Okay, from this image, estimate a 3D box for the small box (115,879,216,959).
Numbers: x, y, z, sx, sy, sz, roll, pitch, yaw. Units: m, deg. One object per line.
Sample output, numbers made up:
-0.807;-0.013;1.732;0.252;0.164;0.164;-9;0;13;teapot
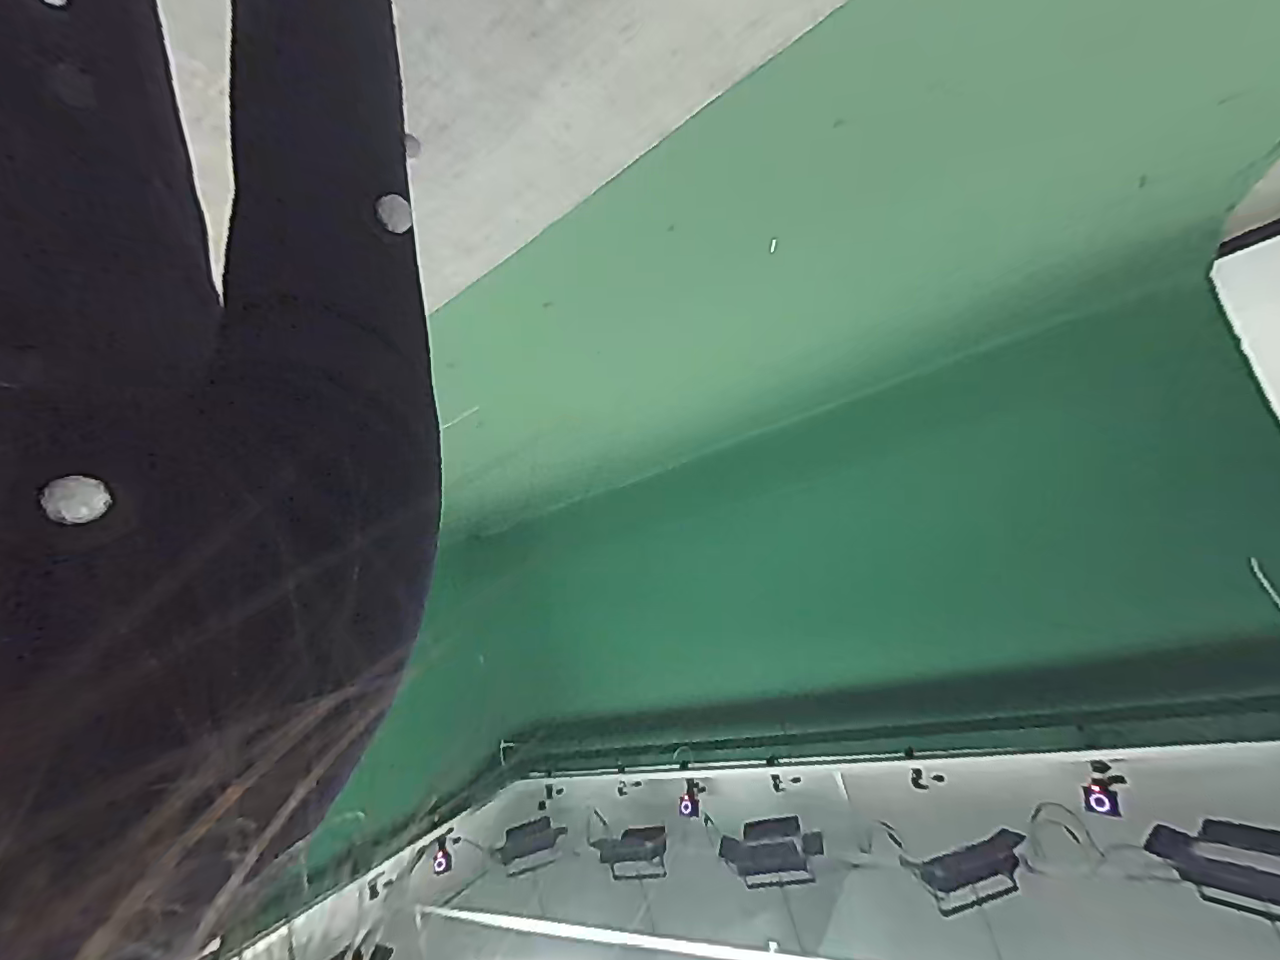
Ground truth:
-1.286;1.218;1.462;0.179;0.176;0.168;-21;167;30;small box
